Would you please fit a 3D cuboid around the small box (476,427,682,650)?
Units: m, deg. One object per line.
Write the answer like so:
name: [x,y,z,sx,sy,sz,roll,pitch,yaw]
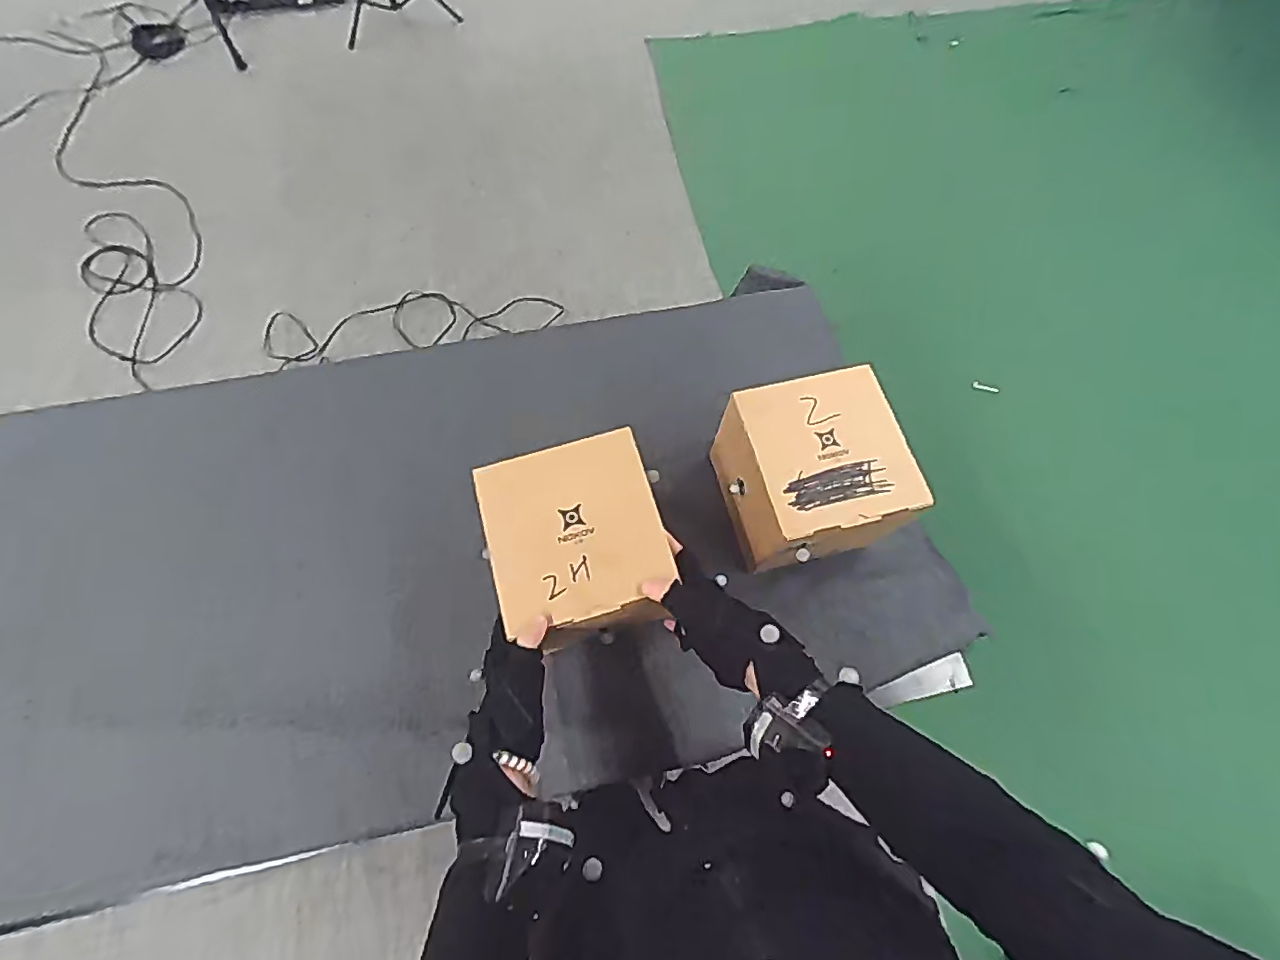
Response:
small box: [-0.062,0.072,0.586,0.168,0.176,0.179,-16,69,-5]
